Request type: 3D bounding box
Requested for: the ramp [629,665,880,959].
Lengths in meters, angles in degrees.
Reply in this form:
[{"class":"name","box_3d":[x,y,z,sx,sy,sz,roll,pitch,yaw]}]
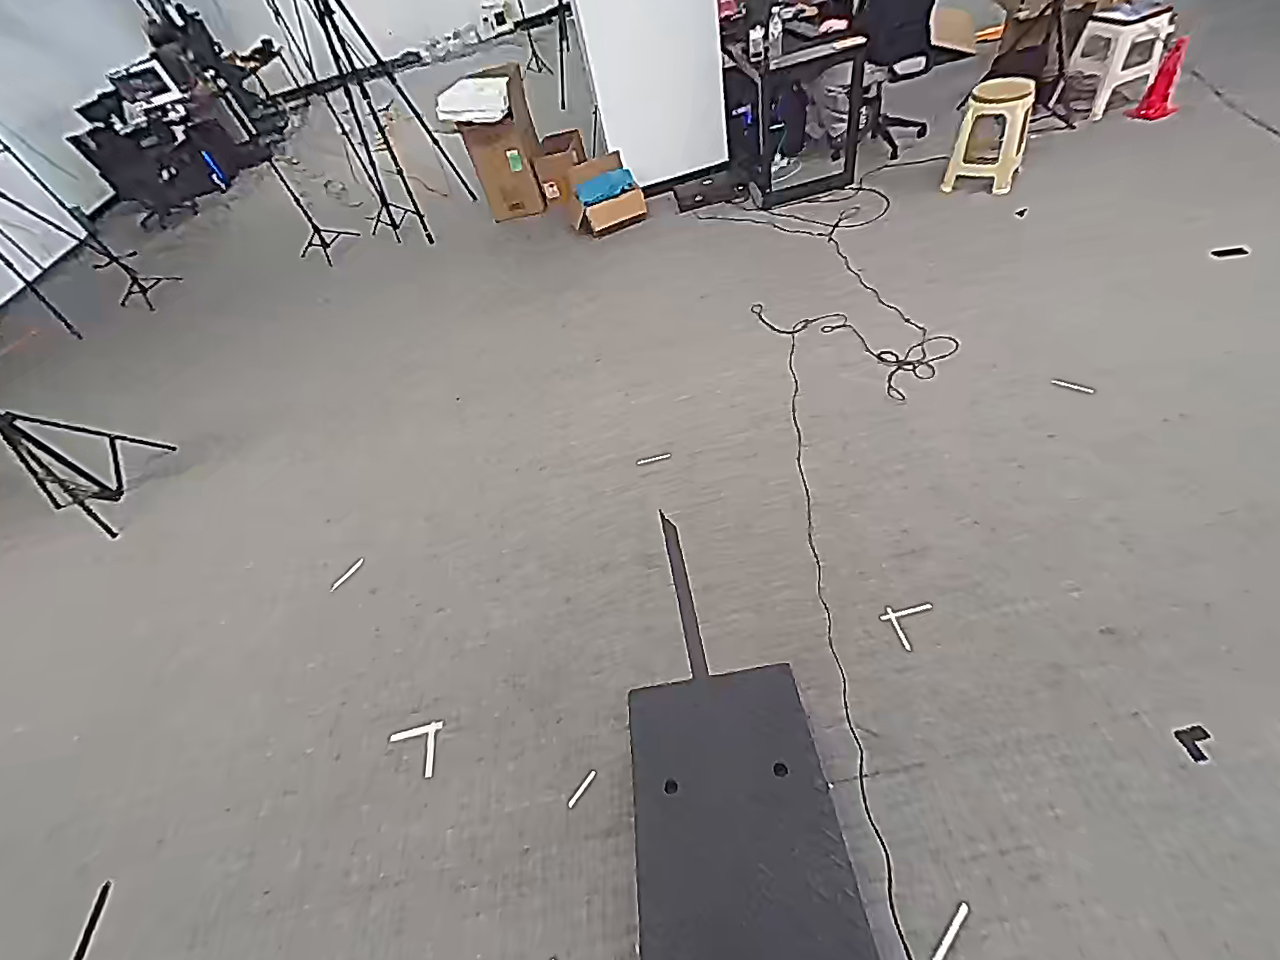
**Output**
[{"class":"ramp","box_3d":[0.231,0.904,1.228,0.509,0.206,0.991,-14,48,5]}]
